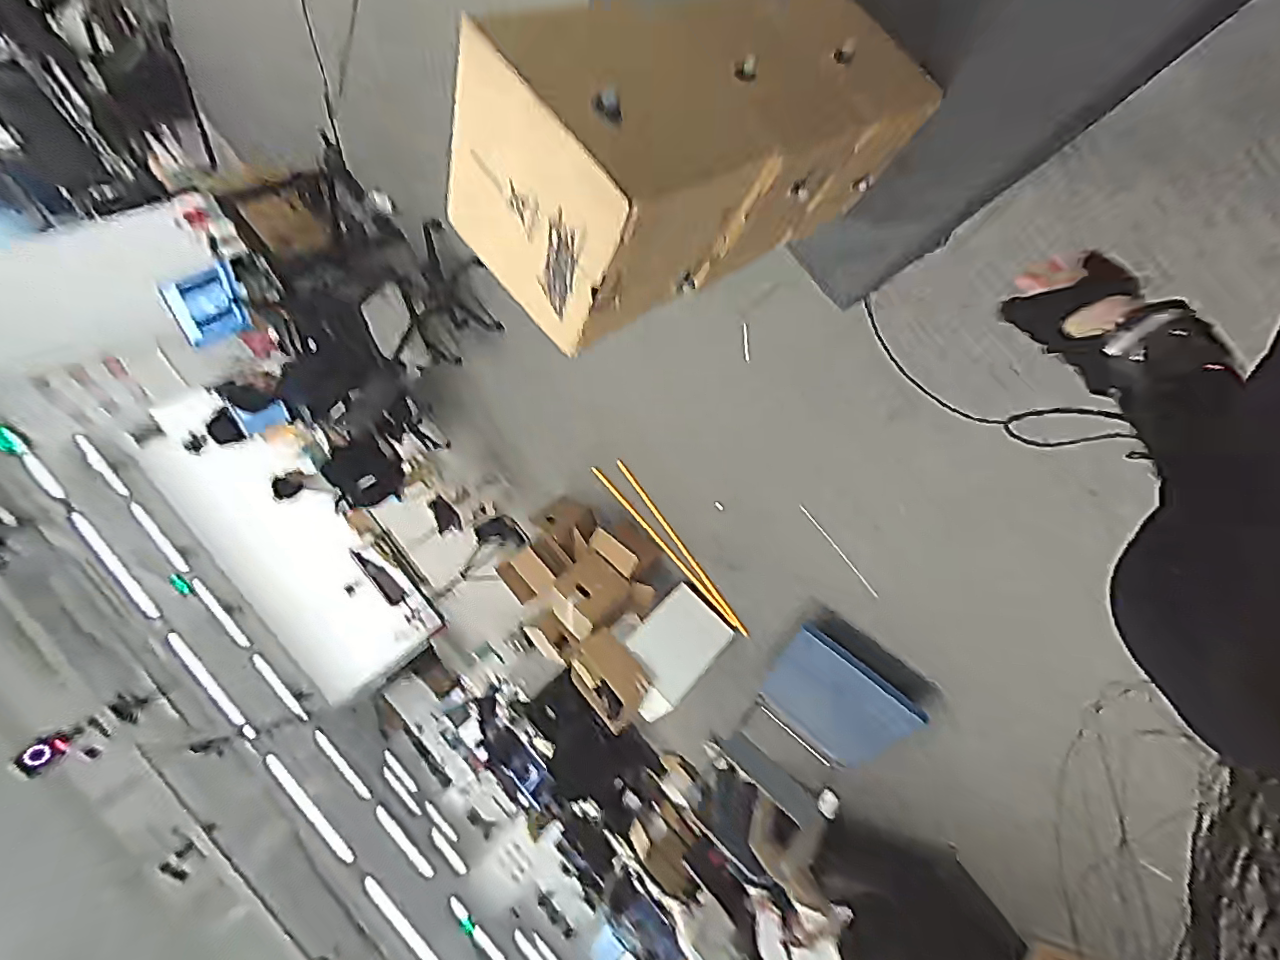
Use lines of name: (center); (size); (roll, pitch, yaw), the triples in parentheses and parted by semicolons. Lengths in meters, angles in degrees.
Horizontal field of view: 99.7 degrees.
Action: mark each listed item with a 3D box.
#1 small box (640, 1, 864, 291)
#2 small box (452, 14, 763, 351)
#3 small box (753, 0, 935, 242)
small box: (0.083, -0.333, 0.540); (0.179, 0.176, 0.168); (49, 148, 3)
small box: (-0.031, -0.250, 0.456); (0.179, 0.176, 0.168); (49, 148, 4)
small box: (0.193, -0.418, 0.625); (0.179, 0.176, 0.168); (49, 149, 3)
